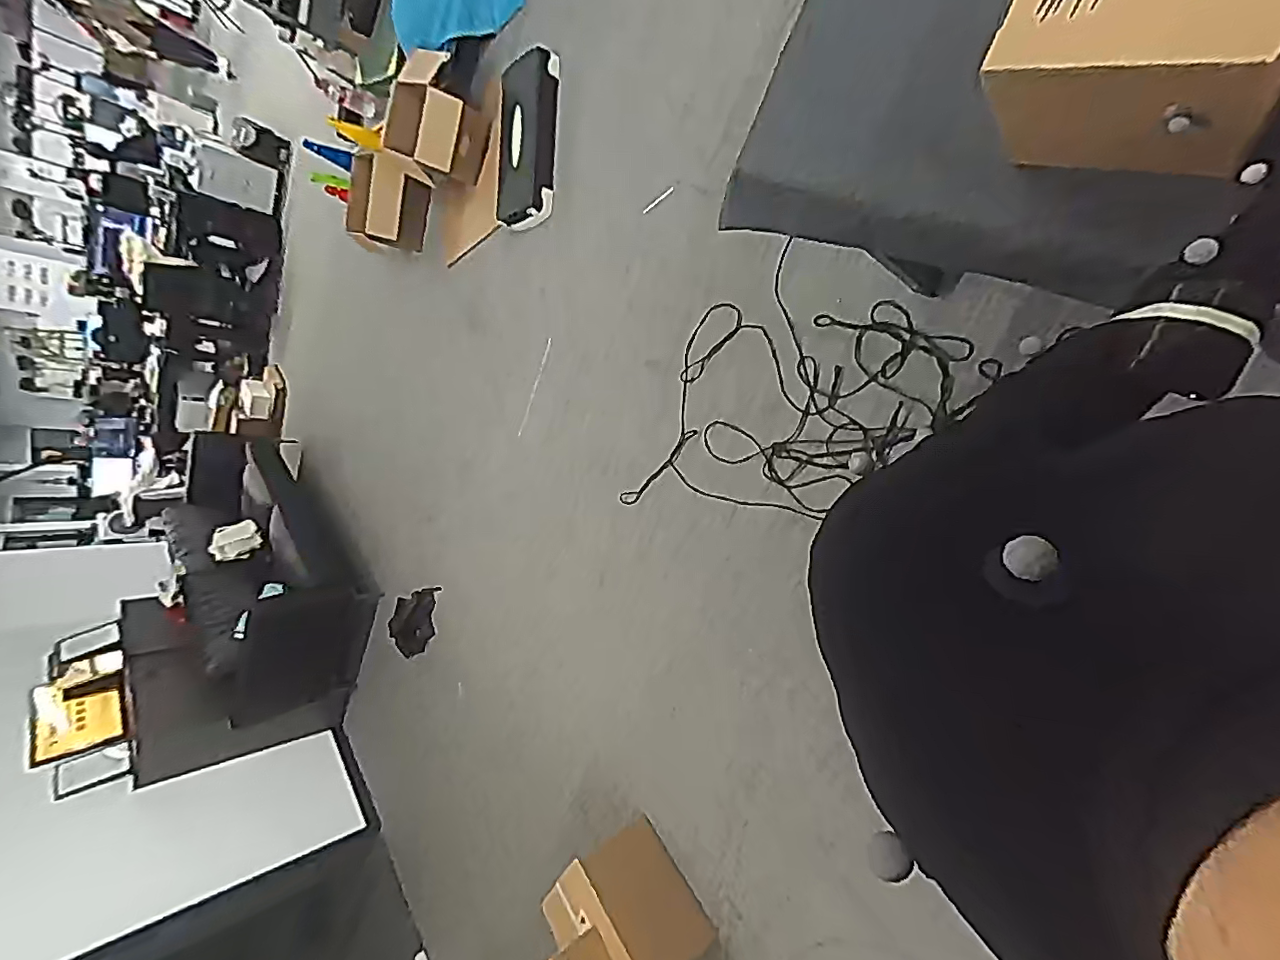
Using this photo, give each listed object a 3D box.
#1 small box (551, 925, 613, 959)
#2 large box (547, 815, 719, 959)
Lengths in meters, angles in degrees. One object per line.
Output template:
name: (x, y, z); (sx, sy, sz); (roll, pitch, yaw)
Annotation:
small box: (-0.170, 1.427, 1.531); (0.179, 0.176, 0.168); (52, 123, 31)
large box: (-0.028, 1.401, 1.731); (0.408, 0.320, 0.320); (47, 119, 34)
